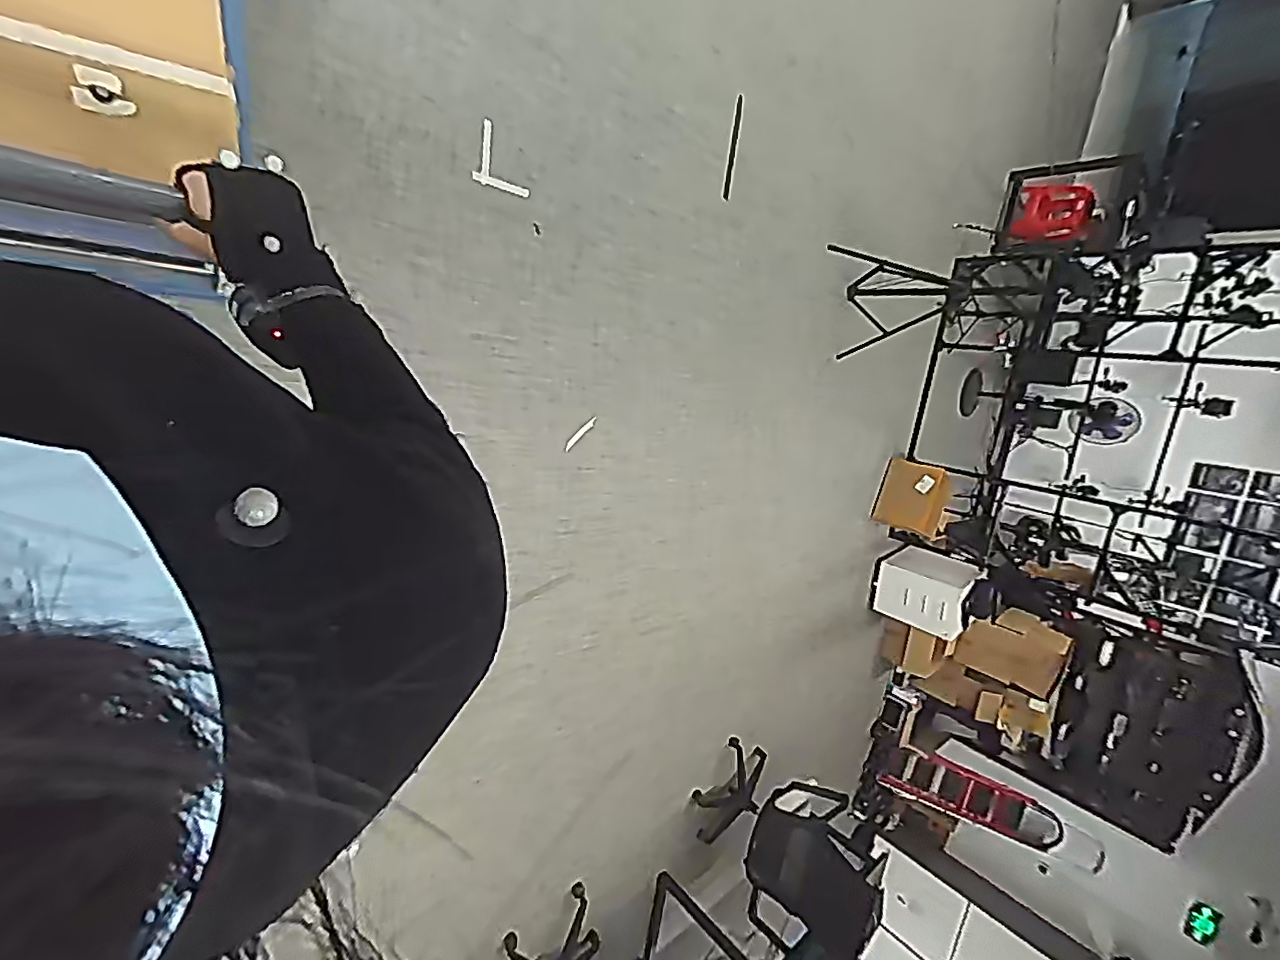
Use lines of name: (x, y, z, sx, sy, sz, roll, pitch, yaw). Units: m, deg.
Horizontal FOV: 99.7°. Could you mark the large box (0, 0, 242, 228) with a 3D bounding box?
large box: (-0.828, -0.549, 0.727, 0.408, 0.320, 0.320, -11, 112, -43)
